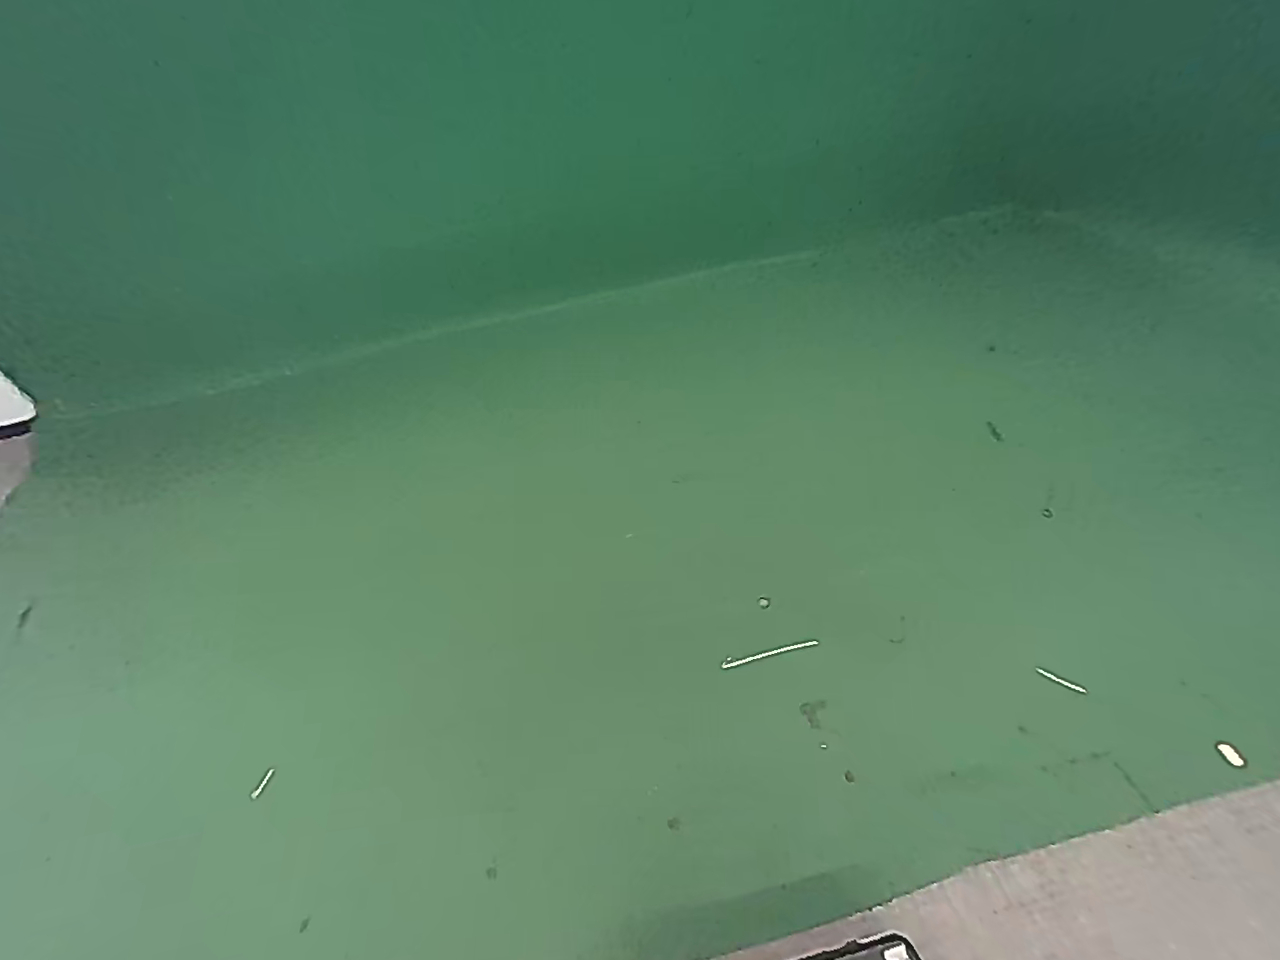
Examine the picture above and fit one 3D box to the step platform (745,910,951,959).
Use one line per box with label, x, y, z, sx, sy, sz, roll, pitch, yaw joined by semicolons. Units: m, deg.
step platform;0.232;1.008;0.929;0.684;0.204;0.286;-15;48;-4
